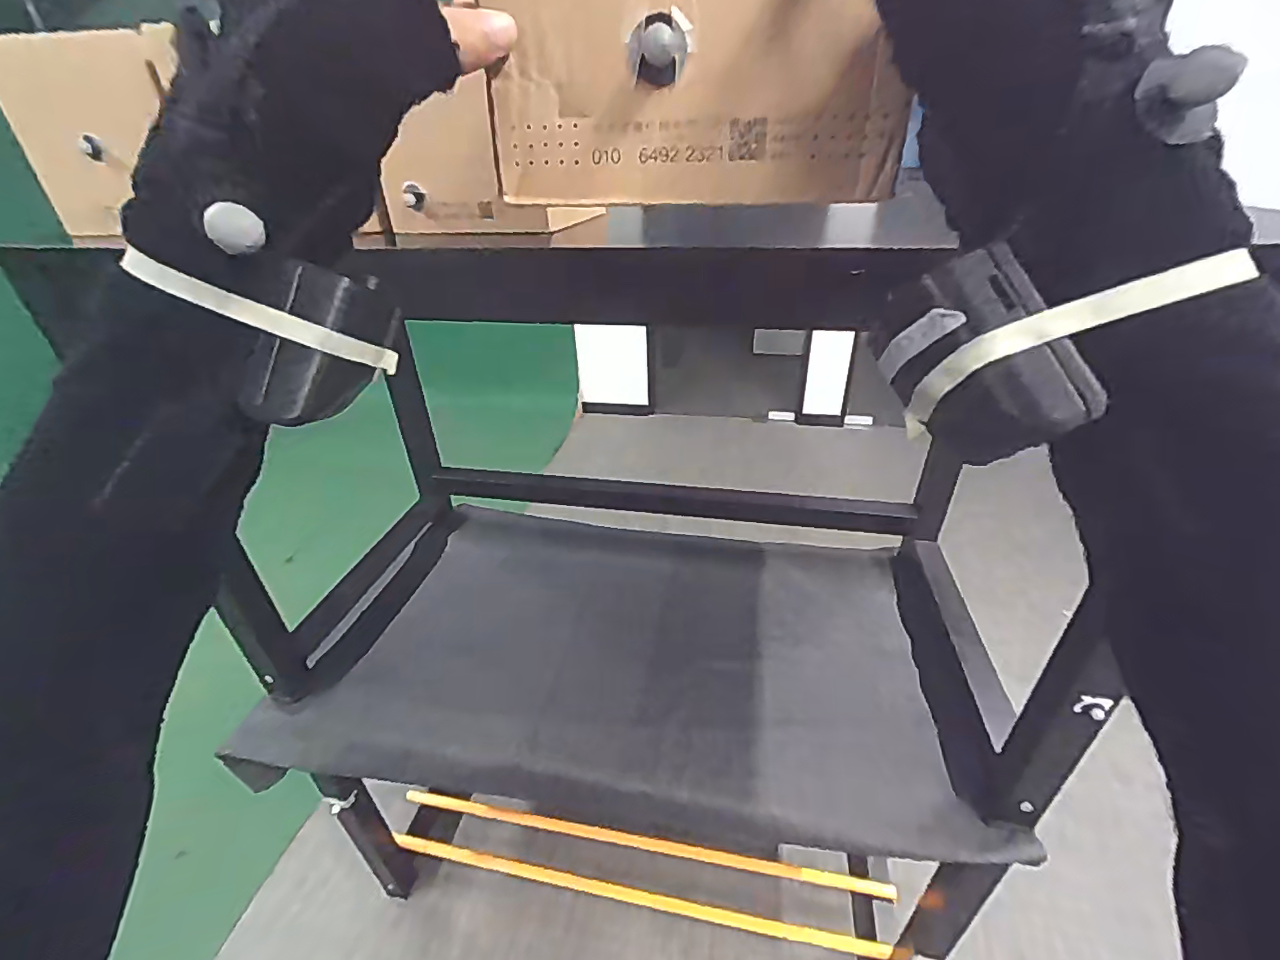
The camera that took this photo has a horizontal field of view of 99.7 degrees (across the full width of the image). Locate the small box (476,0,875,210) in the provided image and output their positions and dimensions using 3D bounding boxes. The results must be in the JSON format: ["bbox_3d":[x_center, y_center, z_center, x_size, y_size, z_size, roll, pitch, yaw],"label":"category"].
[{"bbox_3d":[0.016,-0.239,0.280,0.168,0.176,0.179,1,29,4],"label":"small box"}]

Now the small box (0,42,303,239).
[{"bbox_3d":[-0.526,-0.374,0.615,0.168,0.176,0.179,2,30,4],"label":"small box"}]

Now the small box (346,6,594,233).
[{"bbox_3d":[-0.150,-0.351,0.551,0.168,0.176,0.179,6,31,13],"label":"small box"}]
